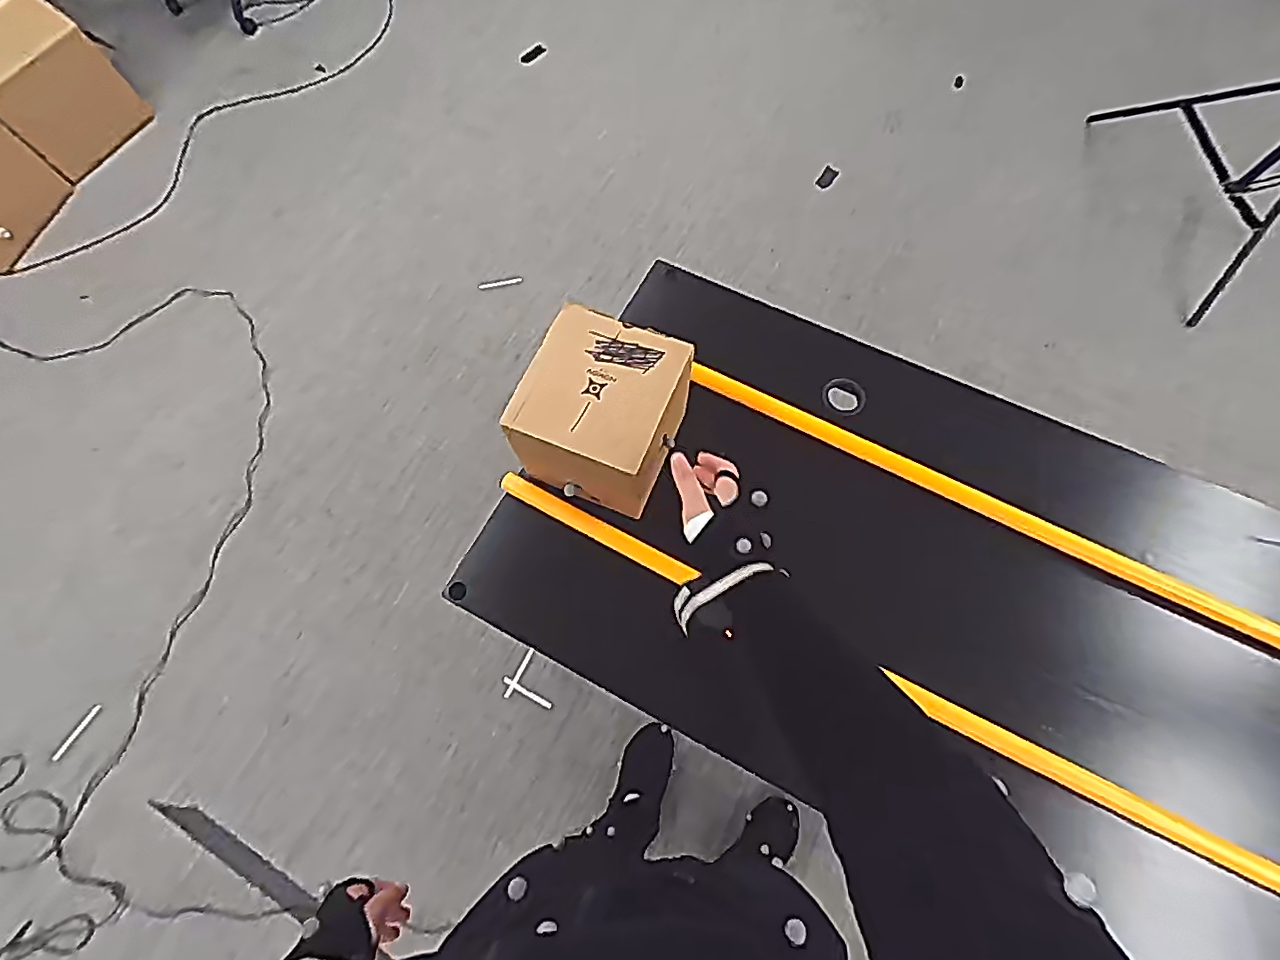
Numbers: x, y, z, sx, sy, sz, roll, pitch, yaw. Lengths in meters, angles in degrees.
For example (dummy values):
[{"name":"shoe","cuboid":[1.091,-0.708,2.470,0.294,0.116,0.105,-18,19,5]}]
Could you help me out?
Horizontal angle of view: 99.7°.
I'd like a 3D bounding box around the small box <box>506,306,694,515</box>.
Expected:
[{"name":"small box","cuboid":[-0.043,-0.079,0.686,0.168,0.176,0.179,21,72,8]}]
